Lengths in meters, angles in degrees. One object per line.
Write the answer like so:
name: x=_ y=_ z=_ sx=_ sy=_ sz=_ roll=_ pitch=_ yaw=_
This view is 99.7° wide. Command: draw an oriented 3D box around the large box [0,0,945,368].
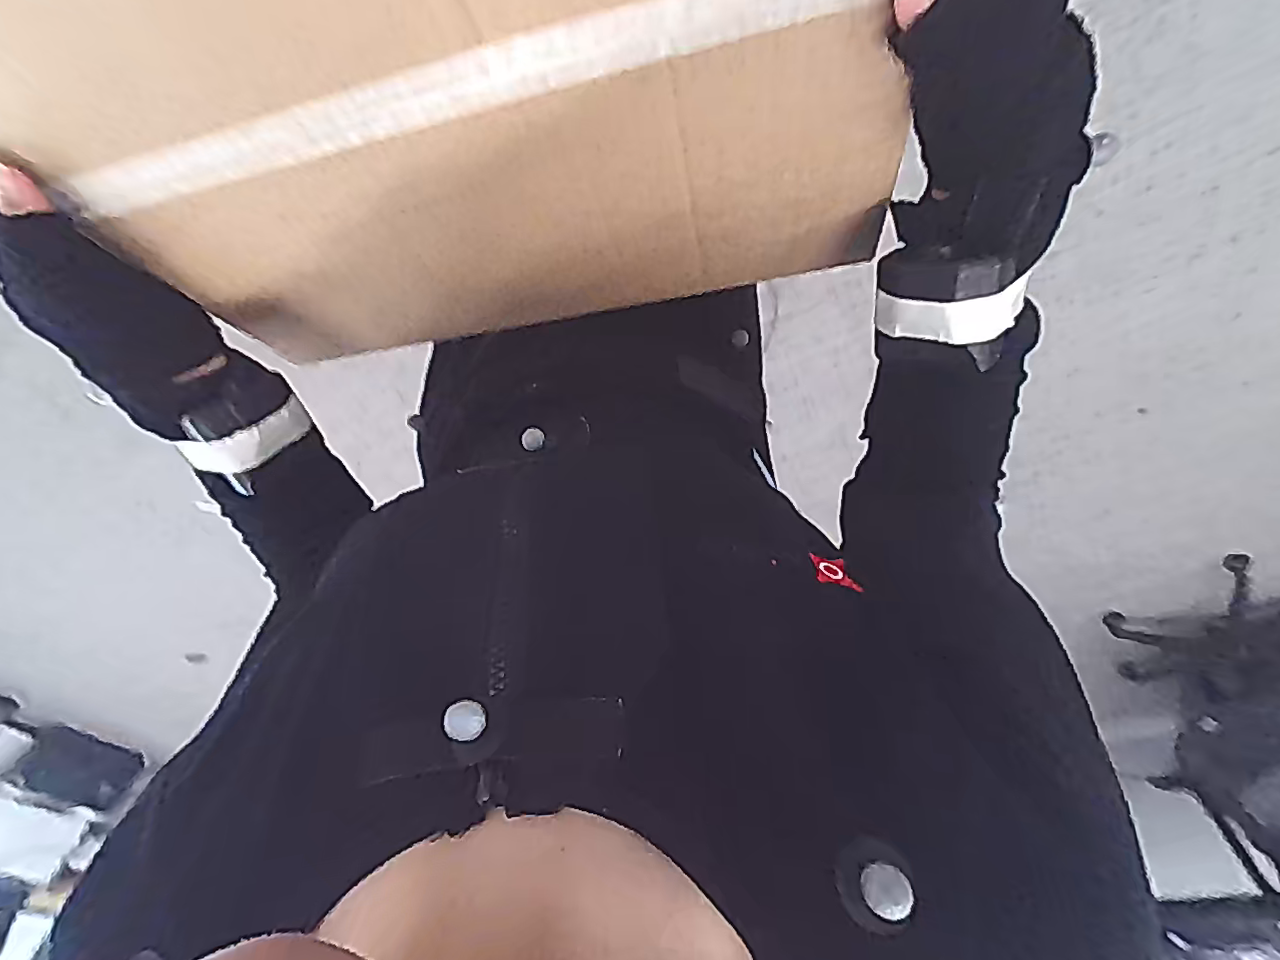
large box: x=-0.089 y=-0.297 z=0.283 sx=0.408 sy=0.320 sz=0.320 roll=-7 pitch=161 yaw=11
